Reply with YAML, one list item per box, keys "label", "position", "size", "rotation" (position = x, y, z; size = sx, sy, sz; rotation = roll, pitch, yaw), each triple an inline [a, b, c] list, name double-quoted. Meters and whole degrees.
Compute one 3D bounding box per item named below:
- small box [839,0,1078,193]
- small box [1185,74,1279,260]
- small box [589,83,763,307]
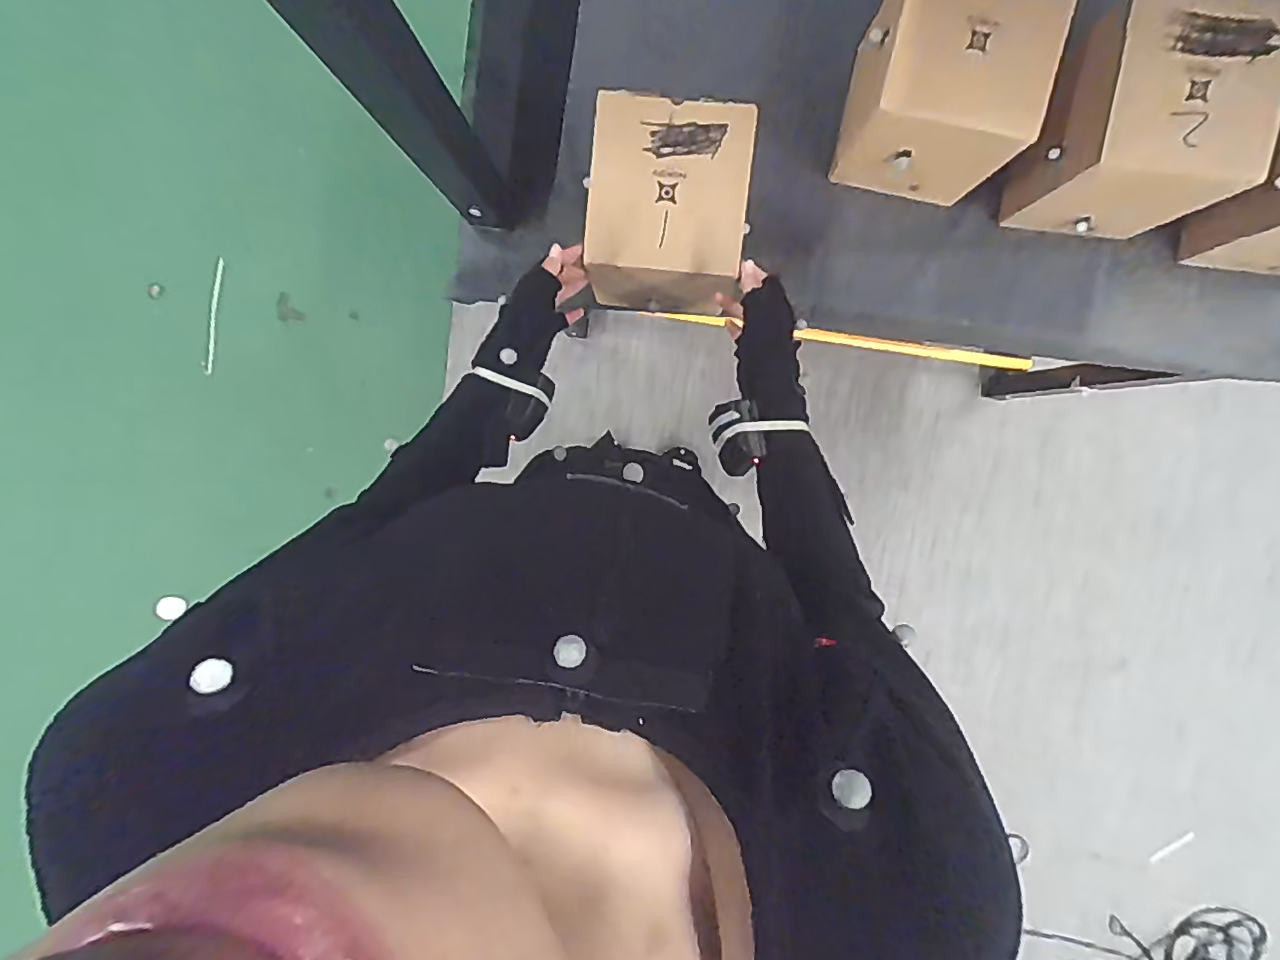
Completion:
- label: "small box"
  position: [0.344, -0.459, 0.616]
  size: [0.168, 0.176, 0.179]
  rotation: [12, 96, 1]
- label: "small box"
  position: [0.781, -0.359, 0.606]
  size: [0.168, 0.176, 0.179]
  rotation: [7, 95, 1]
- label: "small box"
  position: [0.037, -0.318, 0.637]
  size: [0.168, 0.176, 0.179]
  rotation: [6, 96, 1]
